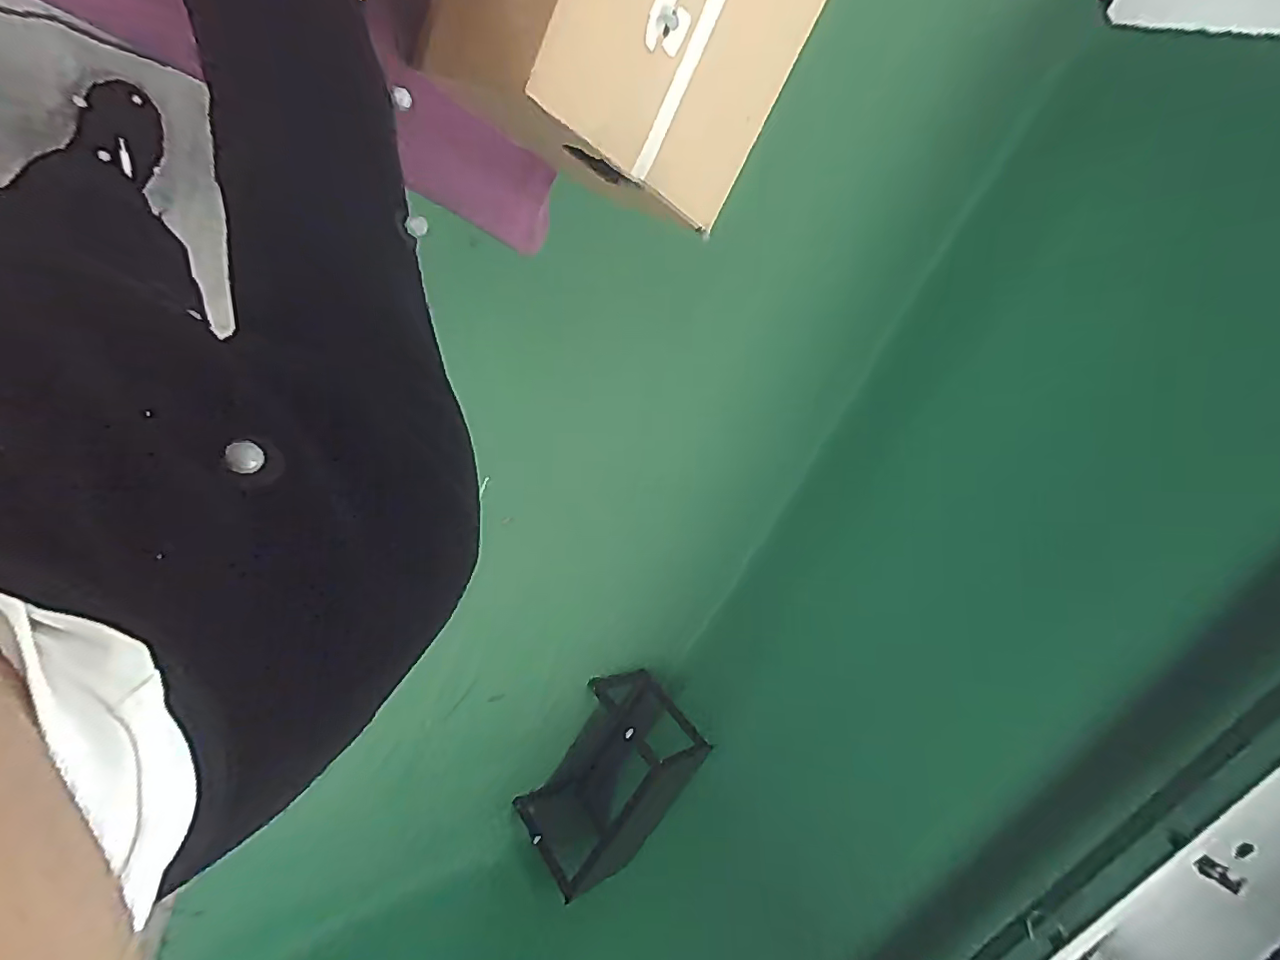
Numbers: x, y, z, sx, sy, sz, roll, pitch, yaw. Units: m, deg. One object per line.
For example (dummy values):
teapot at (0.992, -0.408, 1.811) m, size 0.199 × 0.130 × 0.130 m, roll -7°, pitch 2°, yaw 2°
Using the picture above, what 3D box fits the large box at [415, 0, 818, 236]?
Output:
large box at (-0.017, -0.595, 0.660) m, size 0.320 × 0.320 × 0.408 m, roll 9°, pitch 116°, yaw -48°
